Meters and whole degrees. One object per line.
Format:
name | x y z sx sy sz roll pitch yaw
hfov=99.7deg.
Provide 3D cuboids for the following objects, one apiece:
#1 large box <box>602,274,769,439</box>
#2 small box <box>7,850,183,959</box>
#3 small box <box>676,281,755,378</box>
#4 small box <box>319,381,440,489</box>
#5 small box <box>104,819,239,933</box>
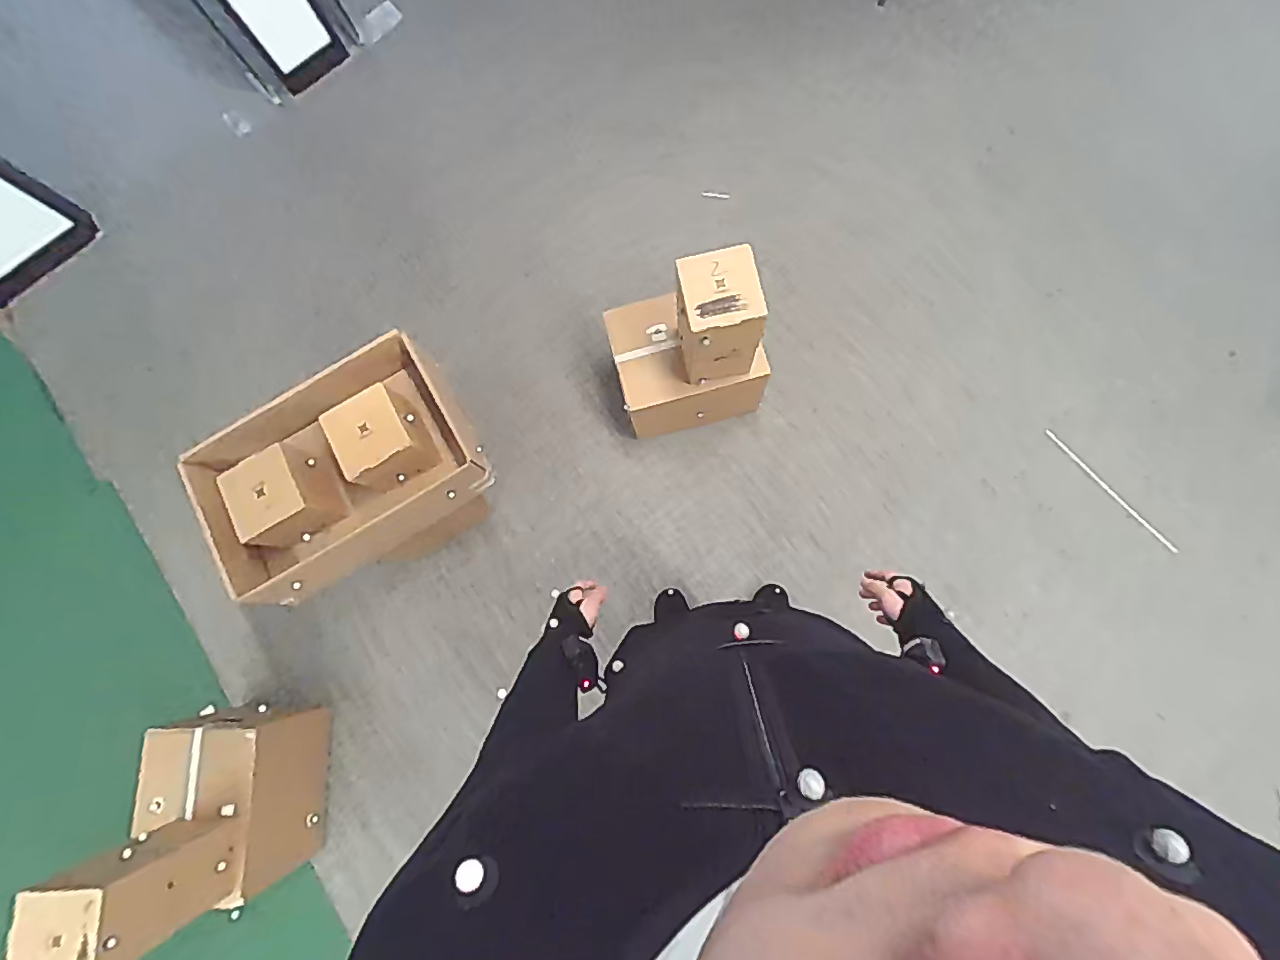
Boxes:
large box | 0.135 -0.353 1.634 0.408 0.320 0.320 -16 77 2
small box | -1.066 0.859 1.066 0.179 0.176 0.168 -5 78 4
small box | 0.189 -0.374 1.382 0.168 0.176 0.179 -12 79 2
small box | -0.610 -0.100 1.285 0.168 0.176 0.179 -31 79 -2
small box | -1.064 0.893 1.227 0.179 0.176 0.168 -4 78 3
